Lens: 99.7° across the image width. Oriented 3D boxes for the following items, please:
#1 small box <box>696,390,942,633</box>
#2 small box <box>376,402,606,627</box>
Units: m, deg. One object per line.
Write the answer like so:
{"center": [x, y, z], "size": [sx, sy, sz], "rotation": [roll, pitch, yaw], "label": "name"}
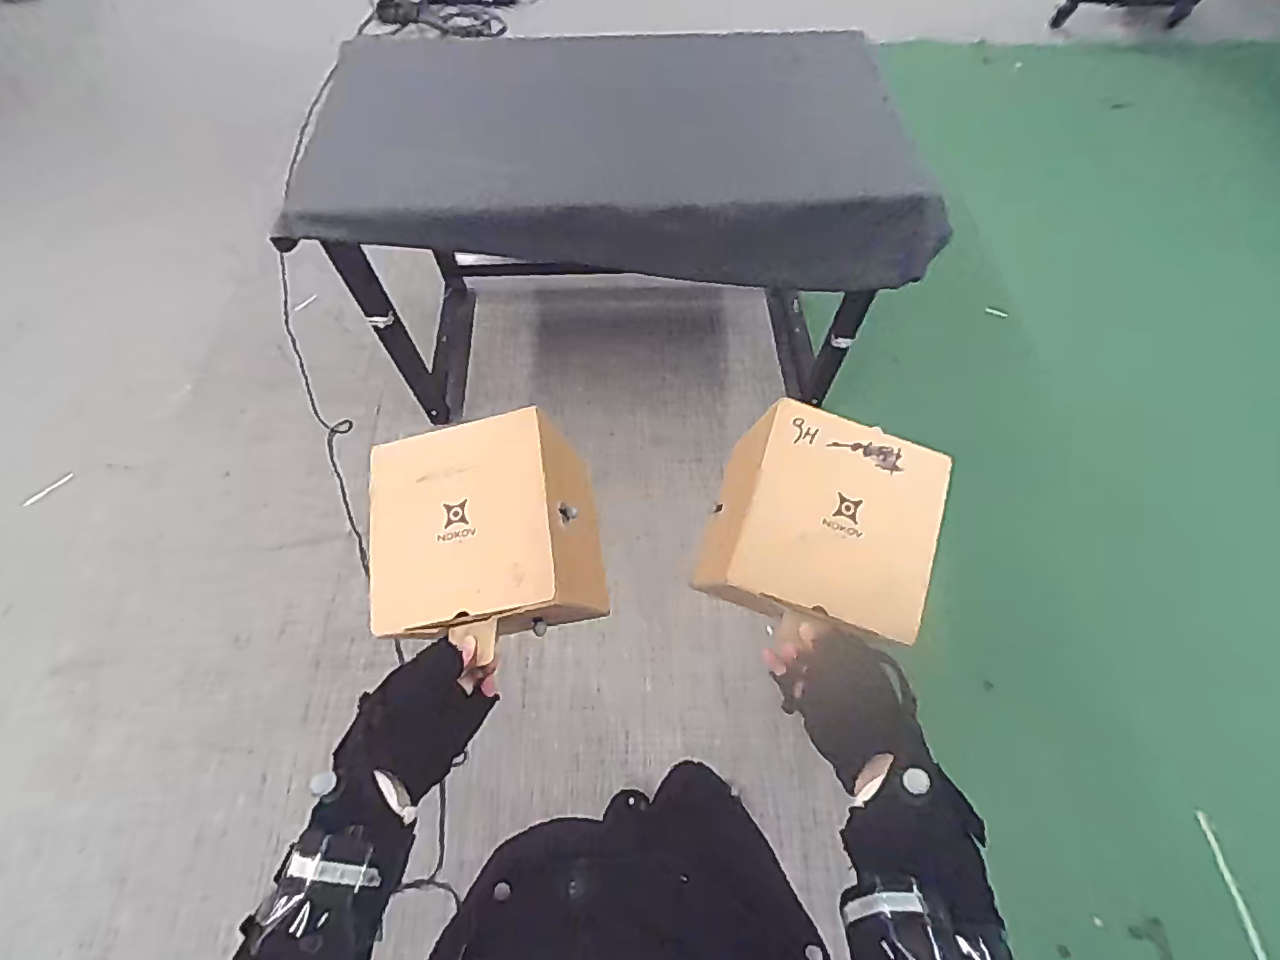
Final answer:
{"center": [0.164, 0.039, 0.551], "size": [0.168, 0.176, 0.179], "rotation": [19, 78, -1], "label": "small box"}
{"center": [-0.140, 0.049, 0.547], "size": [0.168, 0.176, 0.179], "rotation": [-13, 70, 7], "label": "small box"}
